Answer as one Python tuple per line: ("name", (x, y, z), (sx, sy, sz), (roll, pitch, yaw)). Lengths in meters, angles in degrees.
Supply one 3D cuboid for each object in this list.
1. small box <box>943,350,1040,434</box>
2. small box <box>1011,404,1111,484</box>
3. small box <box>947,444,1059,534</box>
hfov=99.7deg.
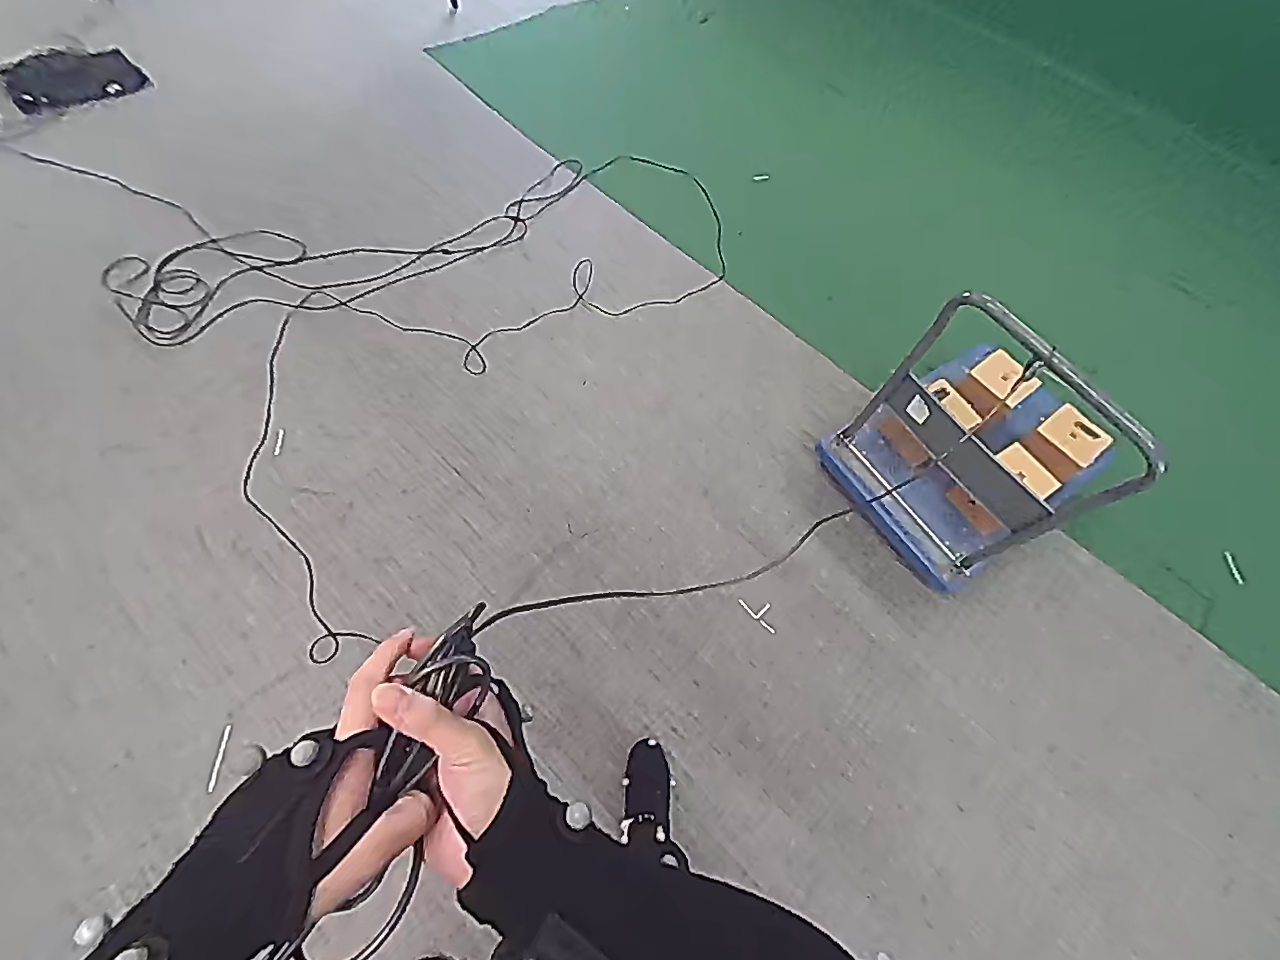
("small box", (1.119, -0.278, 1.744), (0.179, 0.176, 0.168), (-32, 71, -20))
("small box", (1.272, -0.094, 1.664), (0.179, 0.176, 0.168), (-32, 69, -20))
("small box", (1.047, 0.030, 1.576), (0.179, 0.176, 0.168), (-28, 69, -19))
